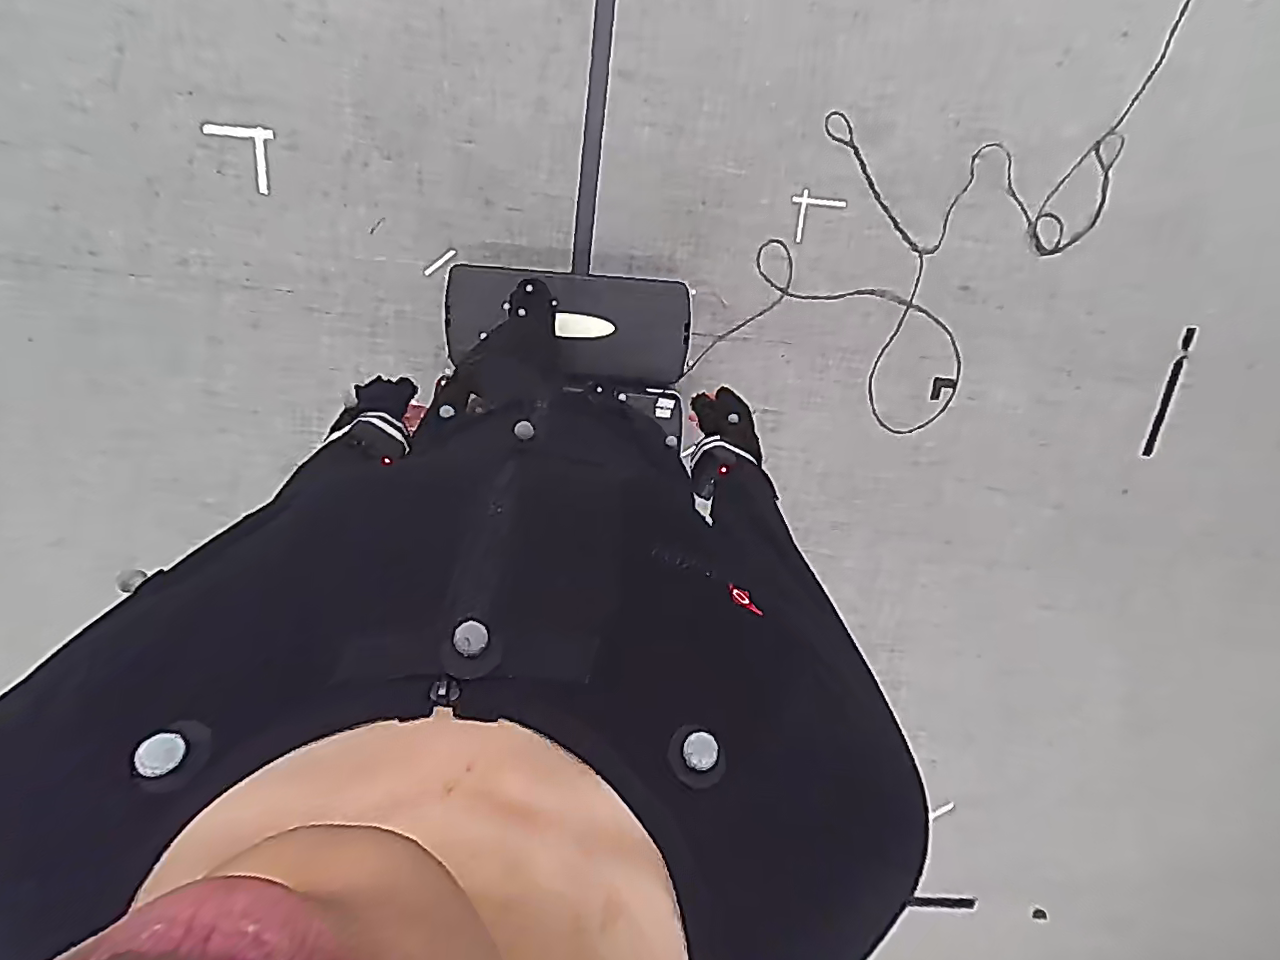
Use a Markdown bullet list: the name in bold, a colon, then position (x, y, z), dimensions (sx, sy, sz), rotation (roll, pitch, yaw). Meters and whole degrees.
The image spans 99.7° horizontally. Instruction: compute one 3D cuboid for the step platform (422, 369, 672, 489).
- **step platform**: position (-0.251, -0.145, 1.530), dimensions (0.684, 0.204, 0.286), rotation (4, 103, -3)
